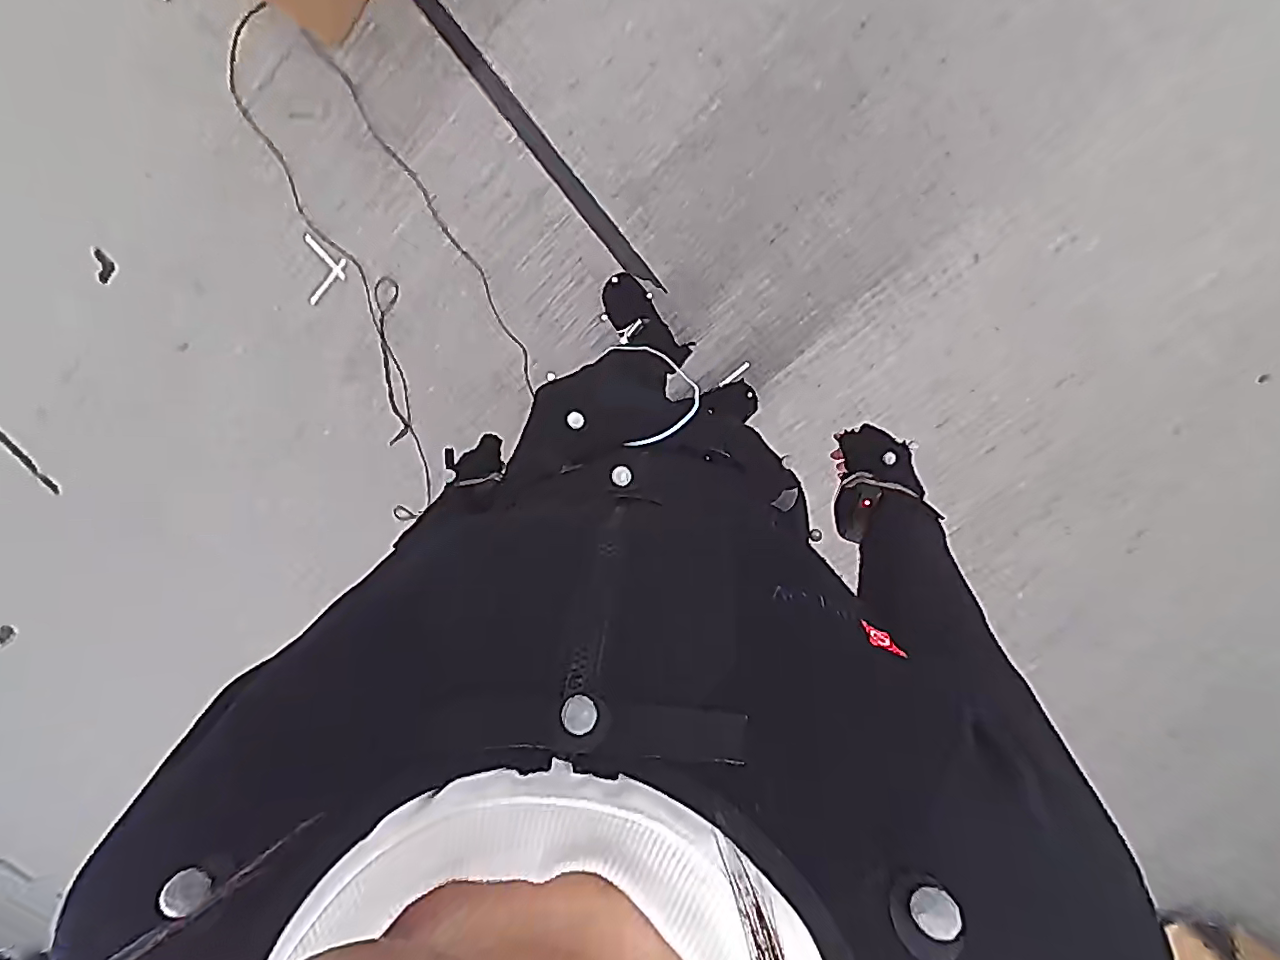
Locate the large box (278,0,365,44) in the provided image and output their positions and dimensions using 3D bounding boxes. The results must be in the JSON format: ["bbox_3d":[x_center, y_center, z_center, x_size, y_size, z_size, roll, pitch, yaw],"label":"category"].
[{"bbox_3d":[-0.694,-1.202,1.045,0.320,0.320,0.408,43,106,-8],"label":"large box"}]
